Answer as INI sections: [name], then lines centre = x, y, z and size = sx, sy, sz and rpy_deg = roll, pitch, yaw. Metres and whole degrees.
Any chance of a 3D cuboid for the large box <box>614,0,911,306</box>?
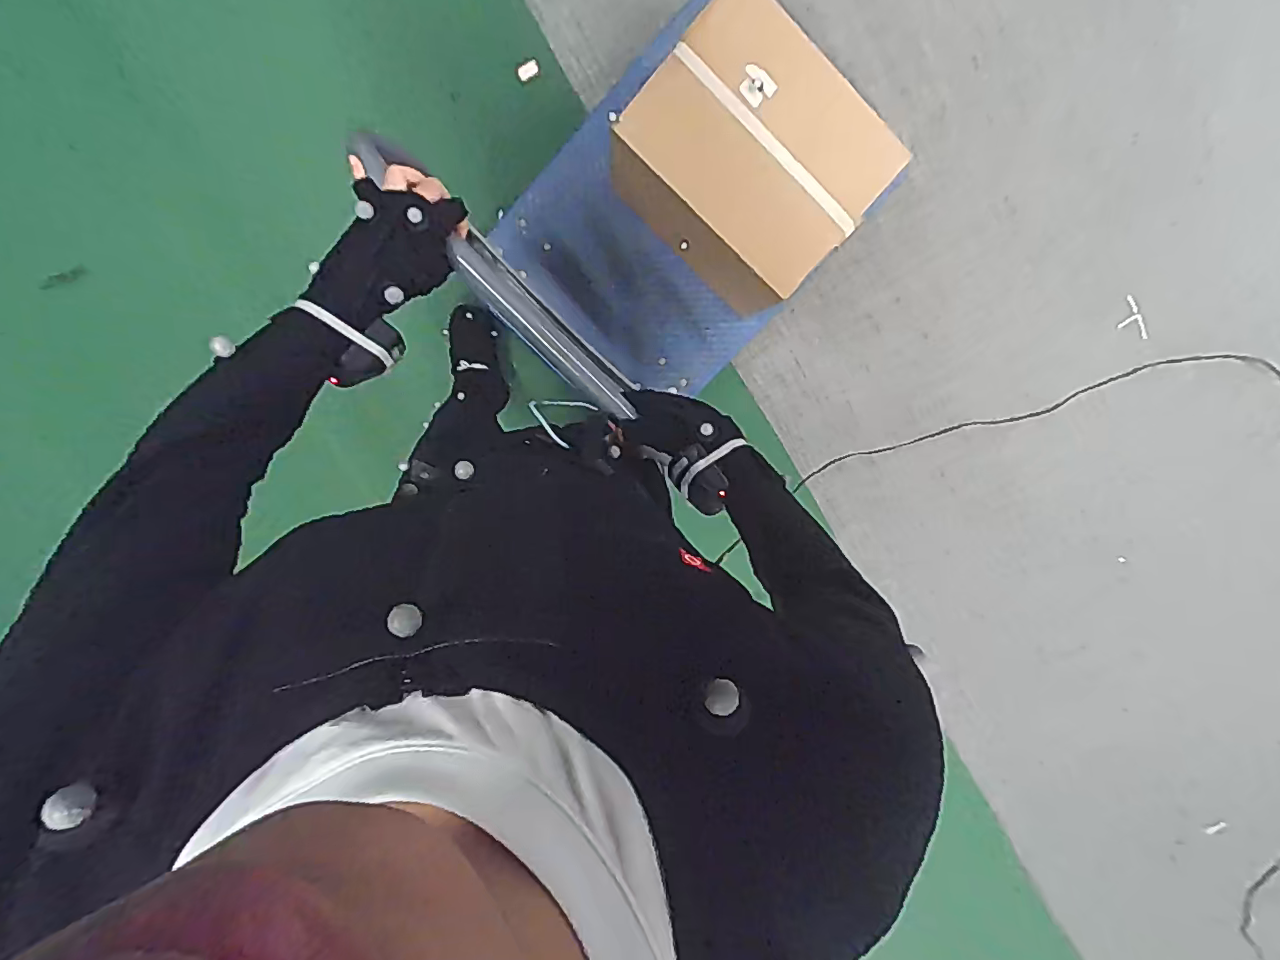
[large box]
centre = 0.201, -0.597, 1.032
size = 0.408, 0.320, 0.320
rpy_deg = 41, 97, -9
